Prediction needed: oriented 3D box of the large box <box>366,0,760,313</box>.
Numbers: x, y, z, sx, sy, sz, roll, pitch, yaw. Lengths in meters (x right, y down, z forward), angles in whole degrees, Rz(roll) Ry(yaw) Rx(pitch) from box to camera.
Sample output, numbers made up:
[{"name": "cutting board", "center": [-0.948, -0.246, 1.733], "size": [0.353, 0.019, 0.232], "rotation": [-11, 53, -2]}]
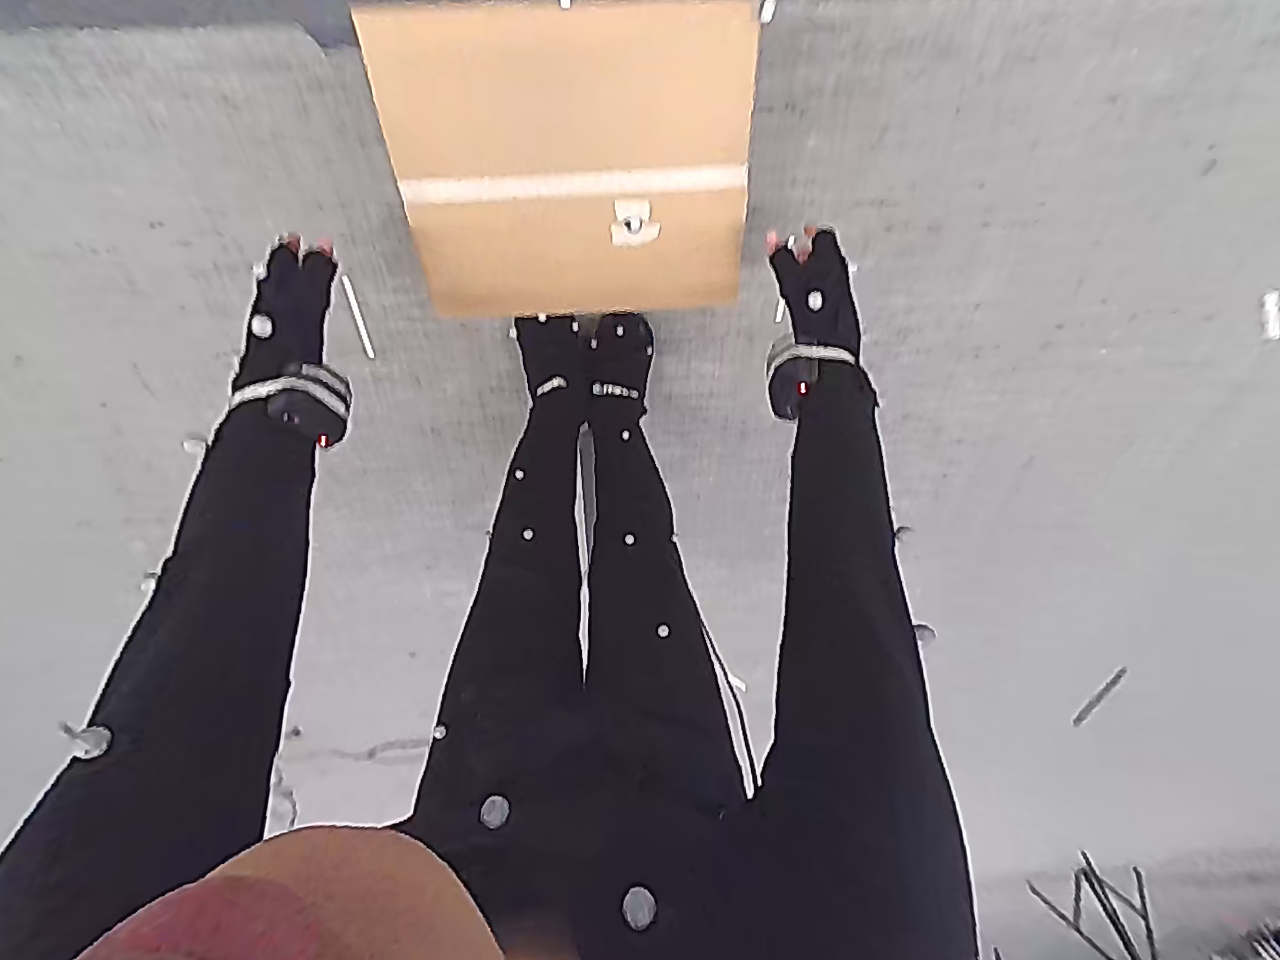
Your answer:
[{"name": "large box", "center": [-0.081, -0.449, 0.746], "size": [0.408, 0.320, 0.320], "rotation": [-4, 129, -2]}]
